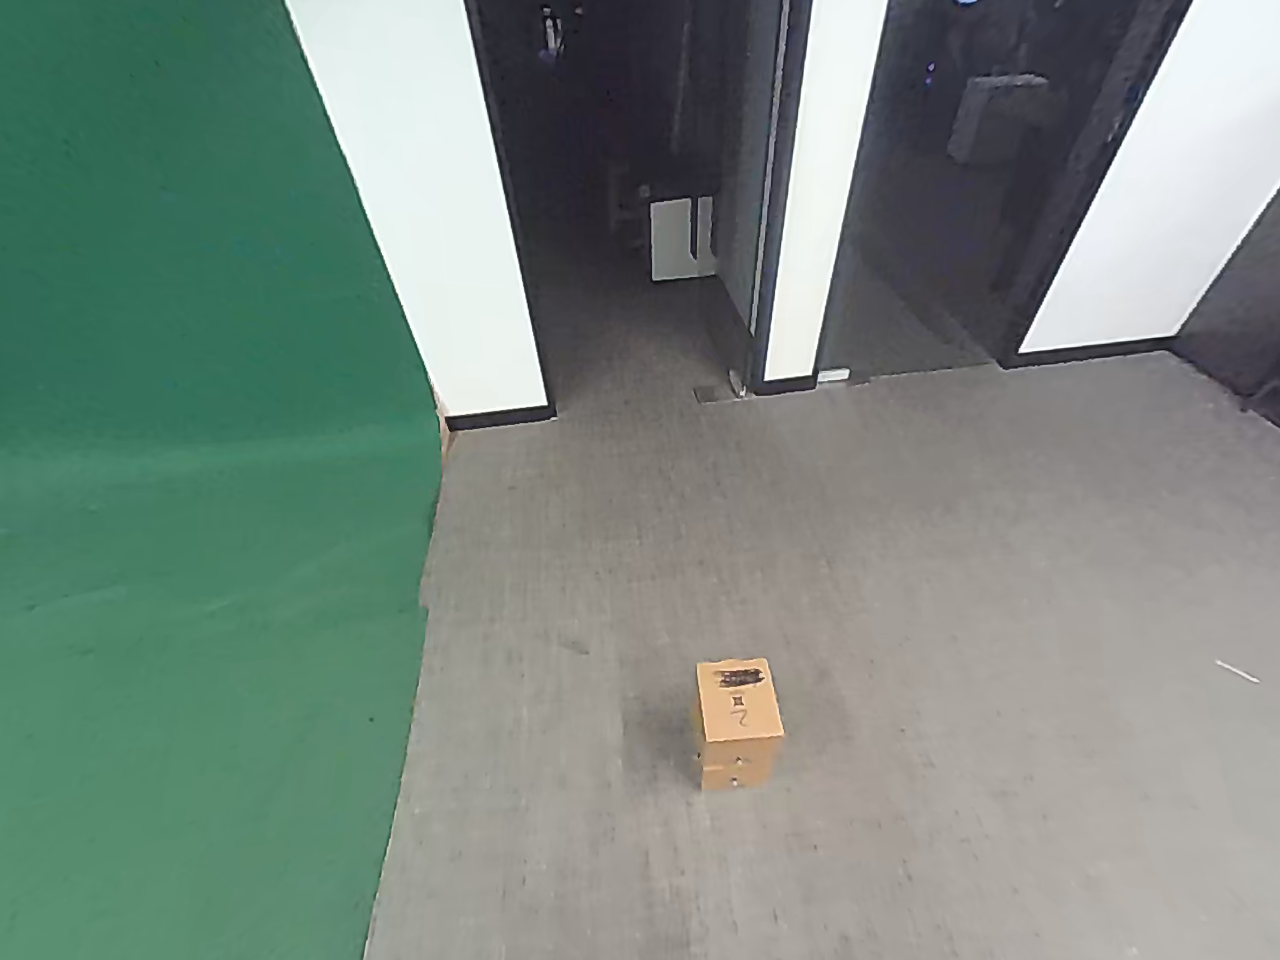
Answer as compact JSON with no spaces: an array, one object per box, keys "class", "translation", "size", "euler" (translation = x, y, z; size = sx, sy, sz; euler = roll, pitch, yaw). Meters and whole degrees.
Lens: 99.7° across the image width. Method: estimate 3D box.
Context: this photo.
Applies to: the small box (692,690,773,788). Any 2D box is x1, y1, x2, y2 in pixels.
[{"class":"small box","translation":[0.223,0.651,1.349],"size":[0.168,0.176,0.179],"euler":[-6,45,-2]}]
